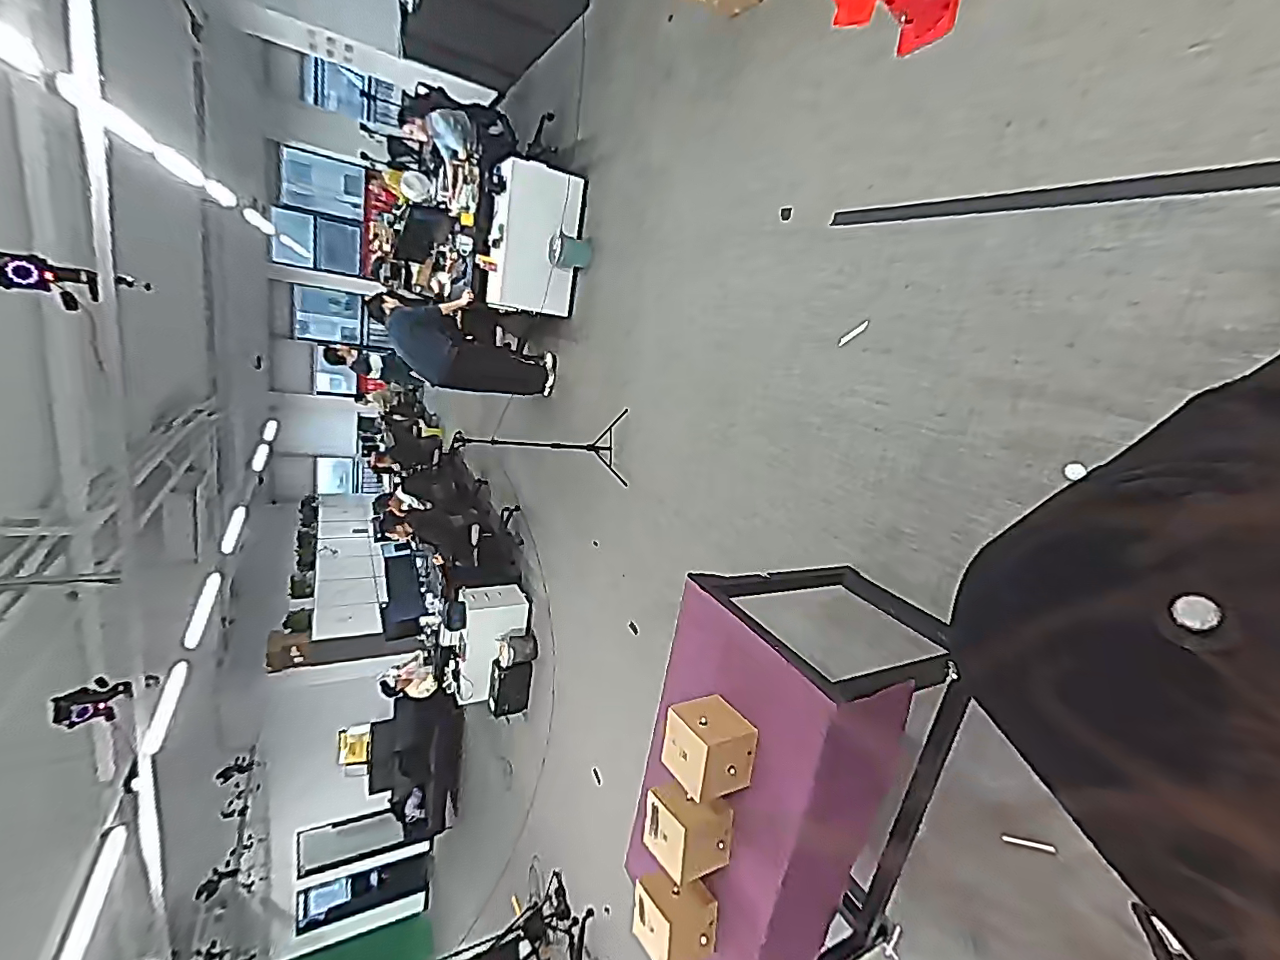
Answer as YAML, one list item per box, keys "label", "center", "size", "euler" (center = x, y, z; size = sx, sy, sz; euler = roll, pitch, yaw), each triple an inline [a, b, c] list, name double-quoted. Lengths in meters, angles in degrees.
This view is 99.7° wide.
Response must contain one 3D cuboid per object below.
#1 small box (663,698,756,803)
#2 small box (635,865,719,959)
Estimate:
- label: "small box"
  center: [0.184, 0.704, 1.433]
  size: [0.179, 0.176, 0.168]
  euler: [24, 110, 58]
- label: "small box"
  center: [0.104, 1.257, 1.561]
  size: [0.179, 0.176, 0.168]
  euler: [10, 99, 59]
